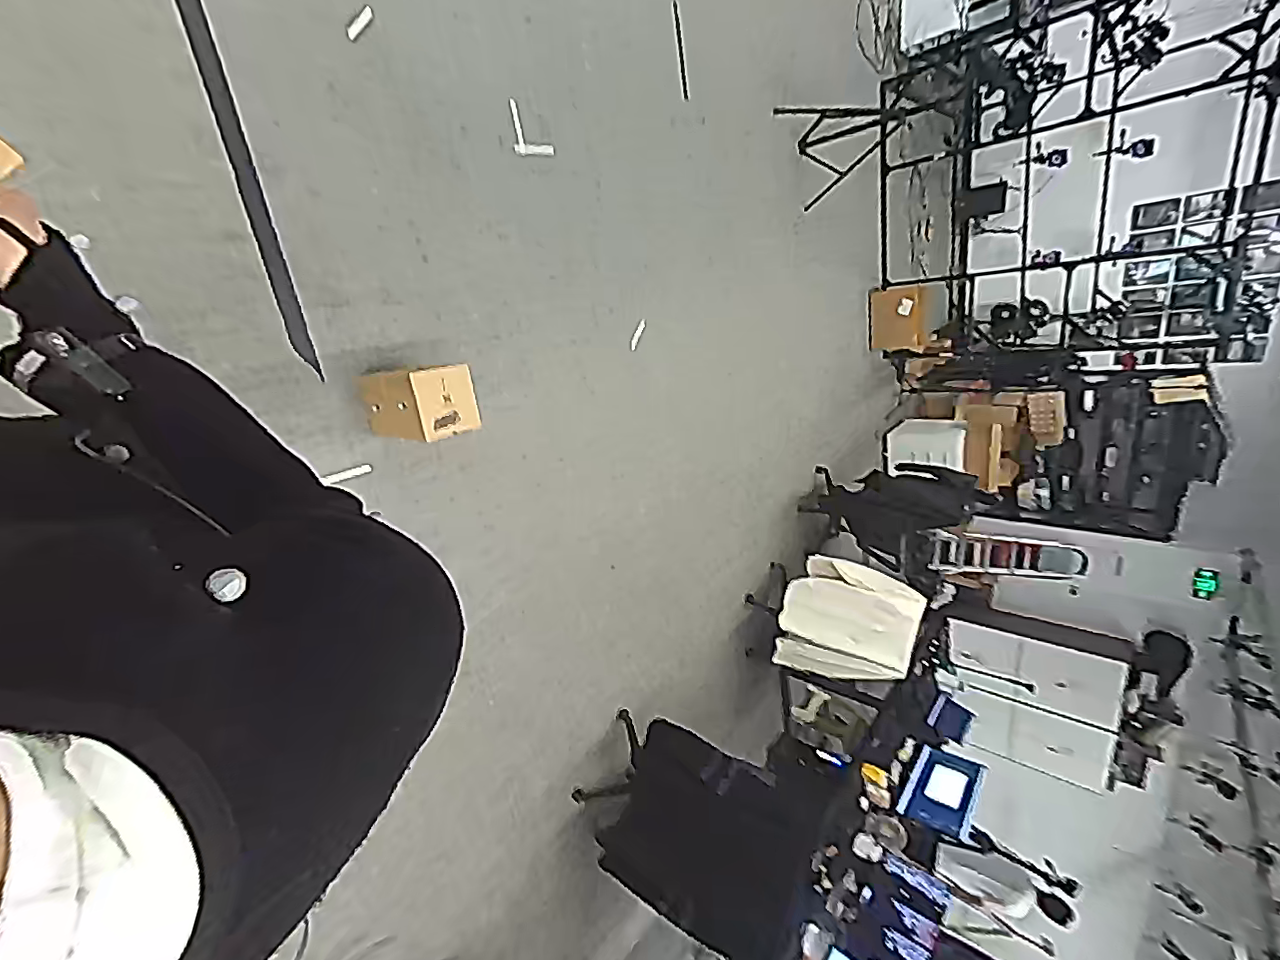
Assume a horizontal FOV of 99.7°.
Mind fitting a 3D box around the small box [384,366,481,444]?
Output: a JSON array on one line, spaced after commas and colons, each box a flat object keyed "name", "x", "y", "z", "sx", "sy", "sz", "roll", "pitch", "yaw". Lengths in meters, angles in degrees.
[{"name": "small box", "x": -0.556, "y": -0.204, "z": 1.449, "sx": 0.168, "sy": 0.176, "sz": 0.179, "roll": -25, "pitch": 113, "yaw": -44}]
